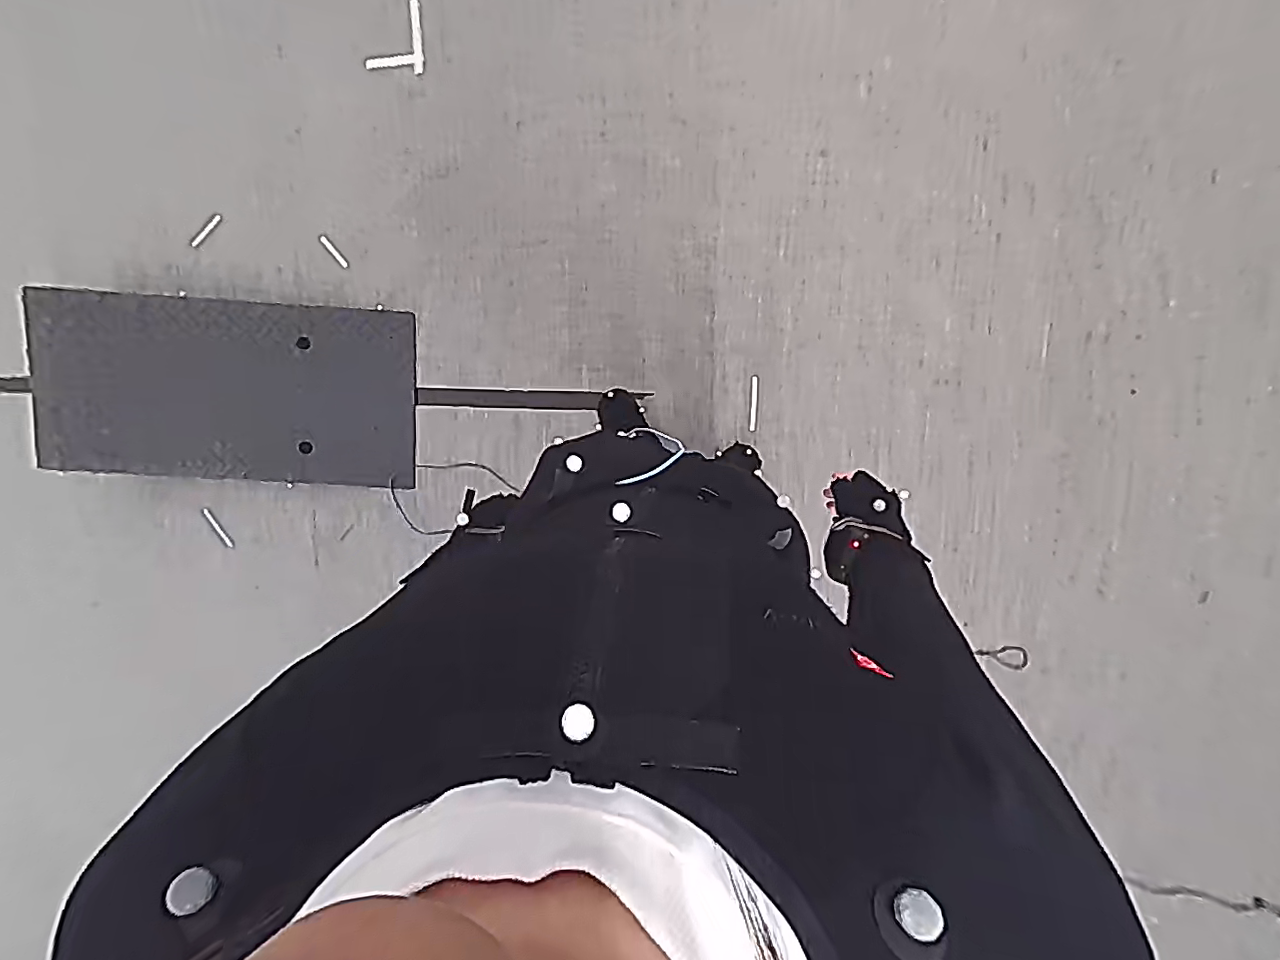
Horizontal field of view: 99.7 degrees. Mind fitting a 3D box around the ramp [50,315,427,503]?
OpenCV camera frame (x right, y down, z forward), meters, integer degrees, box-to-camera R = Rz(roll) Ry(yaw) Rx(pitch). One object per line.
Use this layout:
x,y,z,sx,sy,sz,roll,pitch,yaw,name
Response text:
-1.105,-0.192,1.511,0.991,0.206,0.509,1,95,7,ramp
